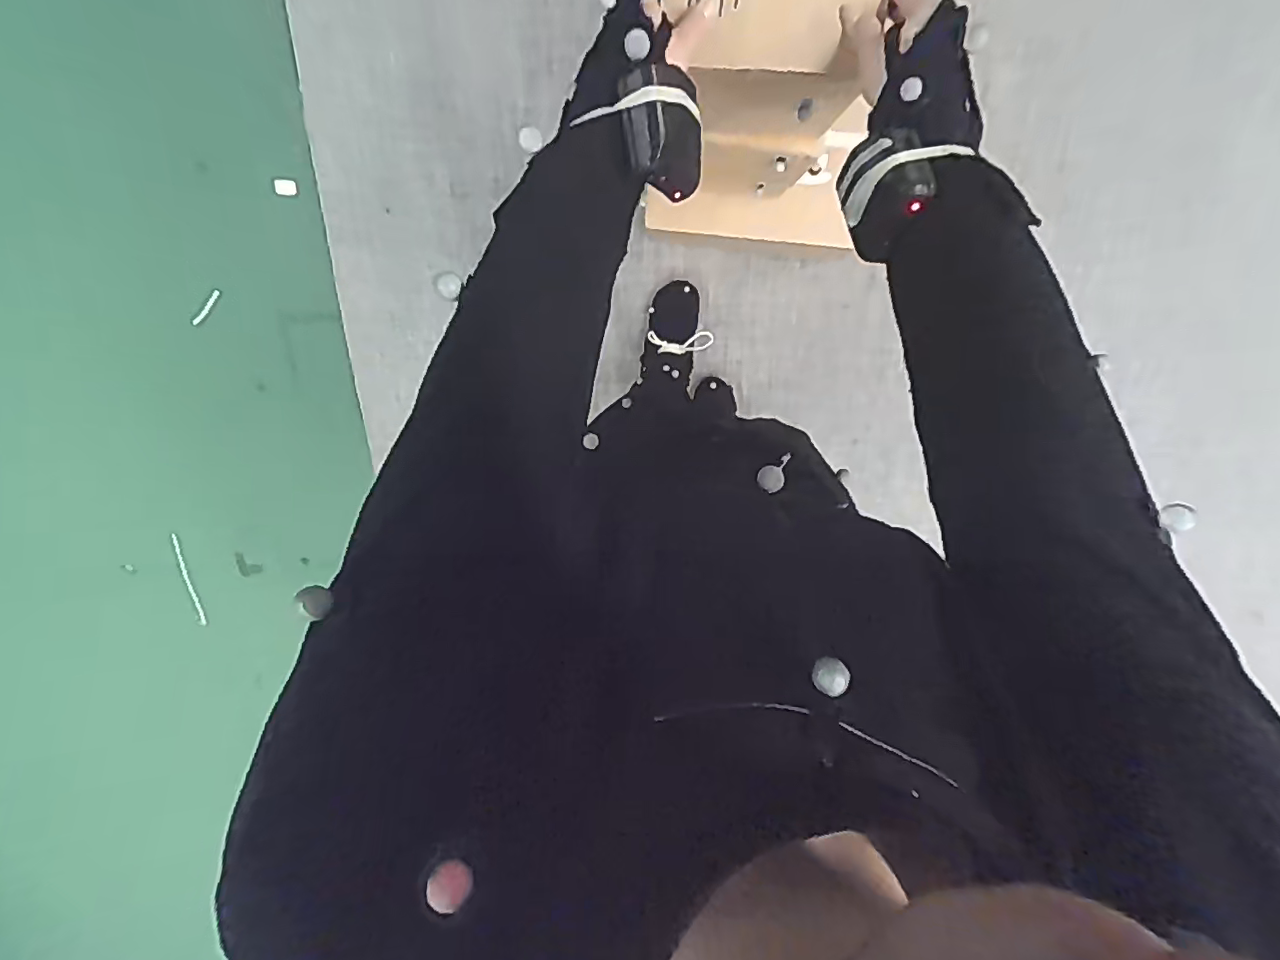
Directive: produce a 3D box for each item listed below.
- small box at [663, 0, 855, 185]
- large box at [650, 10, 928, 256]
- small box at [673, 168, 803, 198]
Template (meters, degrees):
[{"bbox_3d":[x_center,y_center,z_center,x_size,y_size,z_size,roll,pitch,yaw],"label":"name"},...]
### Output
[{"bbox_3d":[0.125,-0.457,0.627,0.179,0.176,0.168,8,108,1],"label":"small box"},{"bbox_3d":[0.228,-0.599,0.999,0.408,0.320,0.320,5,111,1],"label":"large box"},{"bbox_3d":[0.144,-0.515,0.778,0.179,0.176,0.168,6,108,3],"label":"small box"}]
